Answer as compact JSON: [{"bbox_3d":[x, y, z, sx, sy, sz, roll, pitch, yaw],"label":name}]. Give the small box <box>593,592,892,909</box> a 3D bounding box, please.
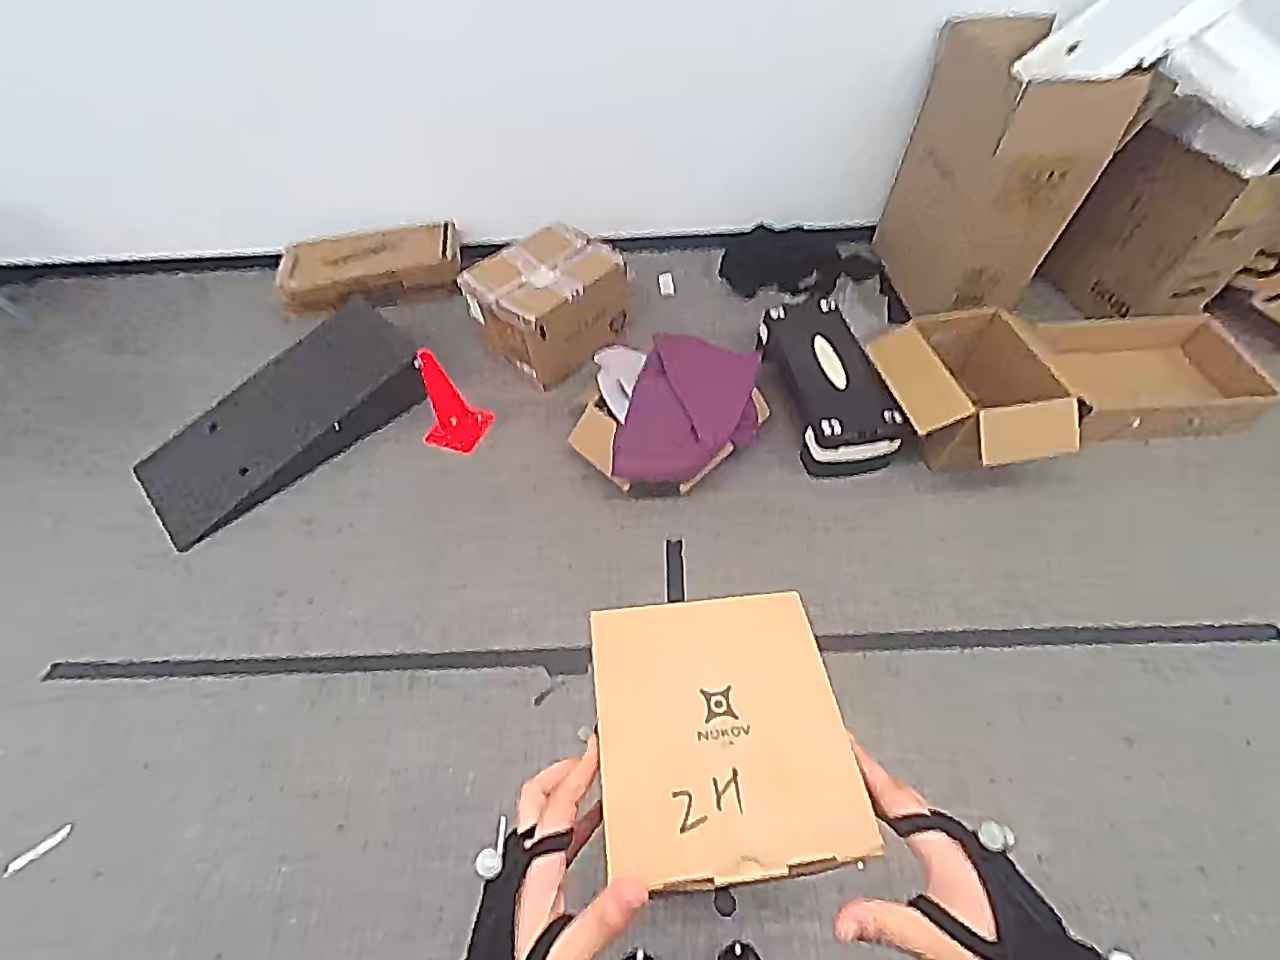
[{"bbox_3d":[0.051,0.207,0.412,0.168,0.176,0.179,-5,52,-5],"label":"small box"}]
